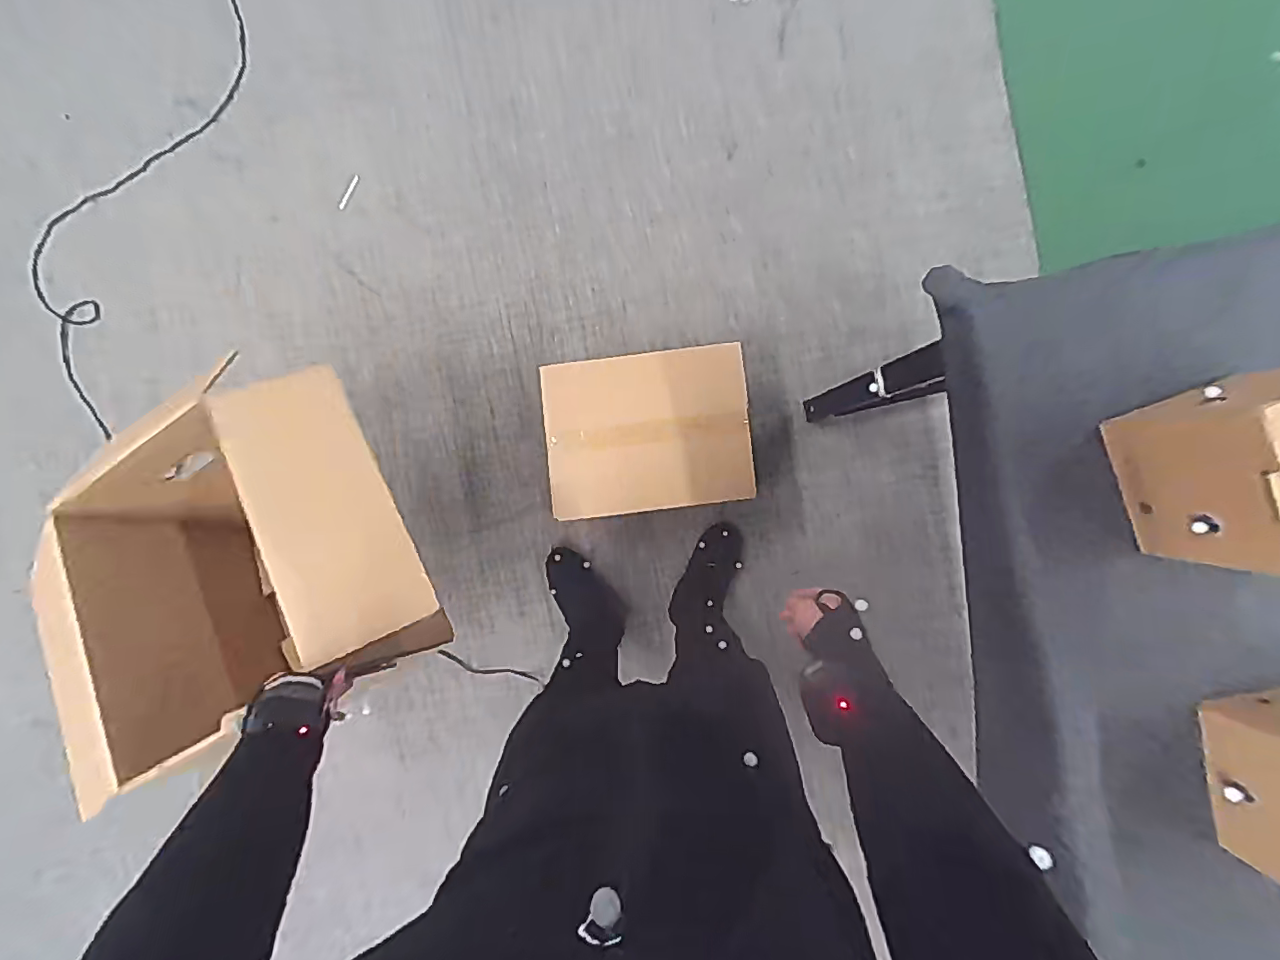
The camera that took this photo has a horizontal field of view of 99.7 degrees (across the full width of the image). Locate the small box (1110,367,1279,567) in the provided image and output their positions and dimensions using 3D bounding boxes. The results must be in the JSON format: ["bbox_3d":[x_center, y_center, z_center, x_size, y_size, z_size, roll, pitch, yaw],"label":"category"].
[{"bbox_3d":[0.644,-0.018,0.561,0.179,0.176,0.168,-20,92,-2],"label":"small box"}]

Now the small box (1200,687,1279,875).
[{"bbox_3d":[0.752,0.335,0.562,0.168,0.176,0.179,-10,91,0],"label":"small box"}]
